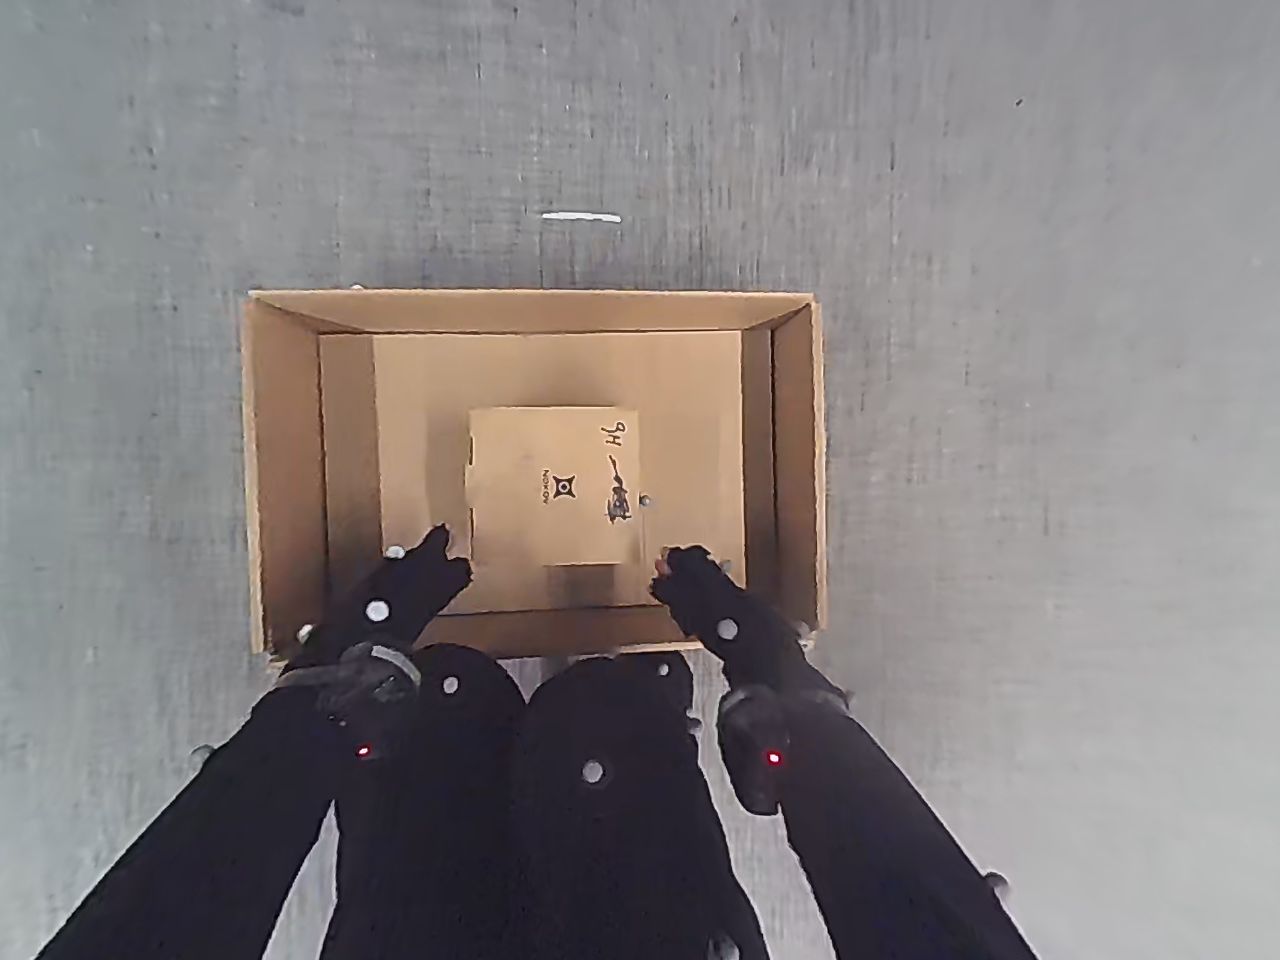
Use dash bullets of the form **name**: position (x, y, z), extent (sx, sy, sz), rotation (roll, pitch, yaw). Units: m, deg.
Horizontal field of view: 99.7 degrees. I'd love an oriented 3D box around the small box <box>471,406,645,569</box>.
- **small box**: position (-0.090, 0.012, 0.646), extent (0.179, 0.176, 0.168), rotation (-5, 88, -4)
